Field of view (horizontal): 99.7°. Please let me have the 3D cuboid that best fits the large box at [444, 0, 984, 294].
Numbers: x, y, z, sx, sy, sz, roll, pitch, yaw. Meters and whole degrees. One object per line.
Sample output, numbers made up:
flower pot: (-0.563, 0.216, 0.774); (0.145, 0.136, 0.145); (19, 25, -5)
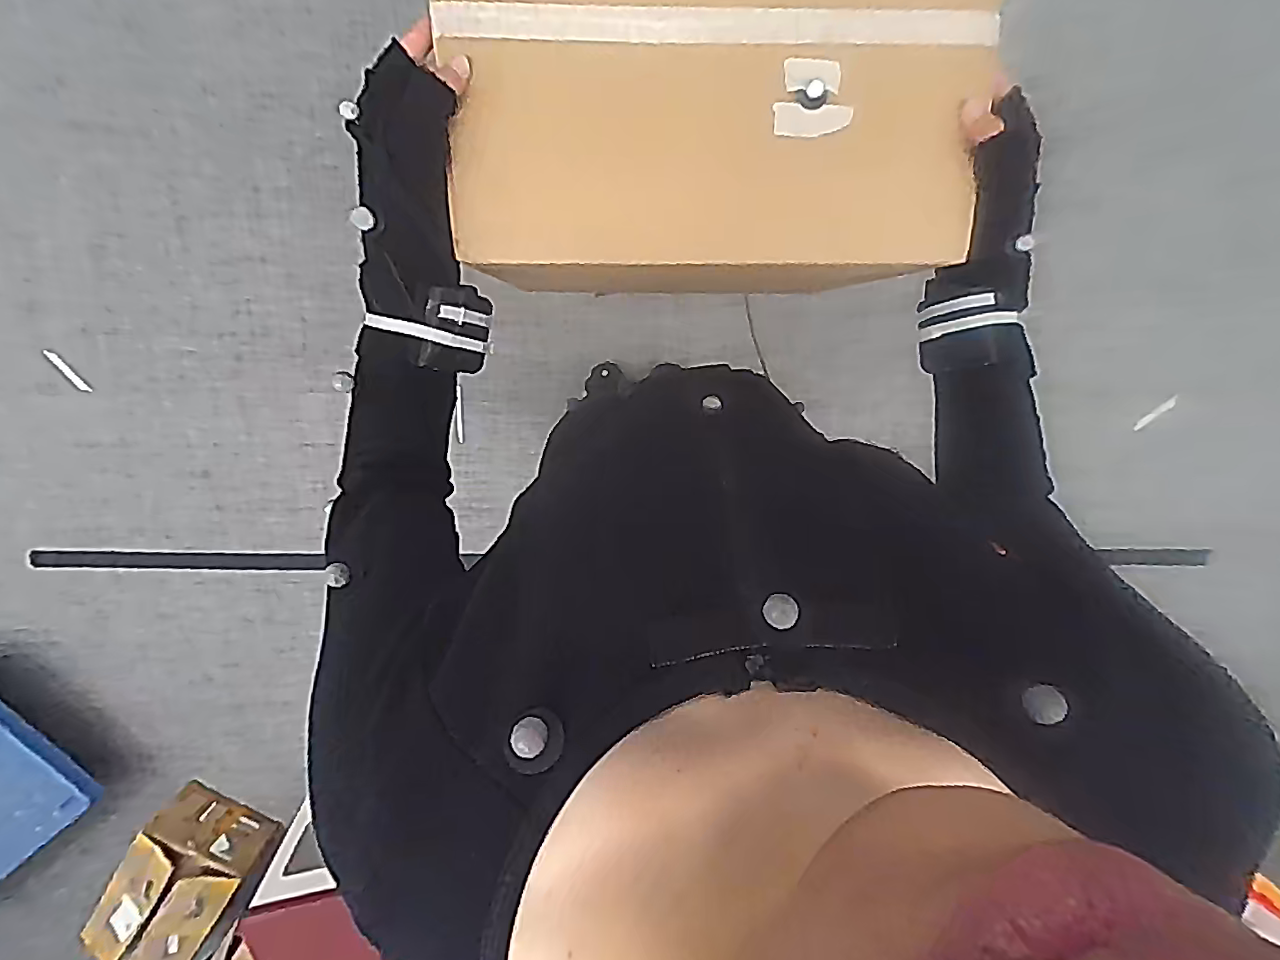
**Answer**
large box: (0.047, -0.366, 0.541); (0.408, 0.320, 0.320); (-1, 105, -3)
